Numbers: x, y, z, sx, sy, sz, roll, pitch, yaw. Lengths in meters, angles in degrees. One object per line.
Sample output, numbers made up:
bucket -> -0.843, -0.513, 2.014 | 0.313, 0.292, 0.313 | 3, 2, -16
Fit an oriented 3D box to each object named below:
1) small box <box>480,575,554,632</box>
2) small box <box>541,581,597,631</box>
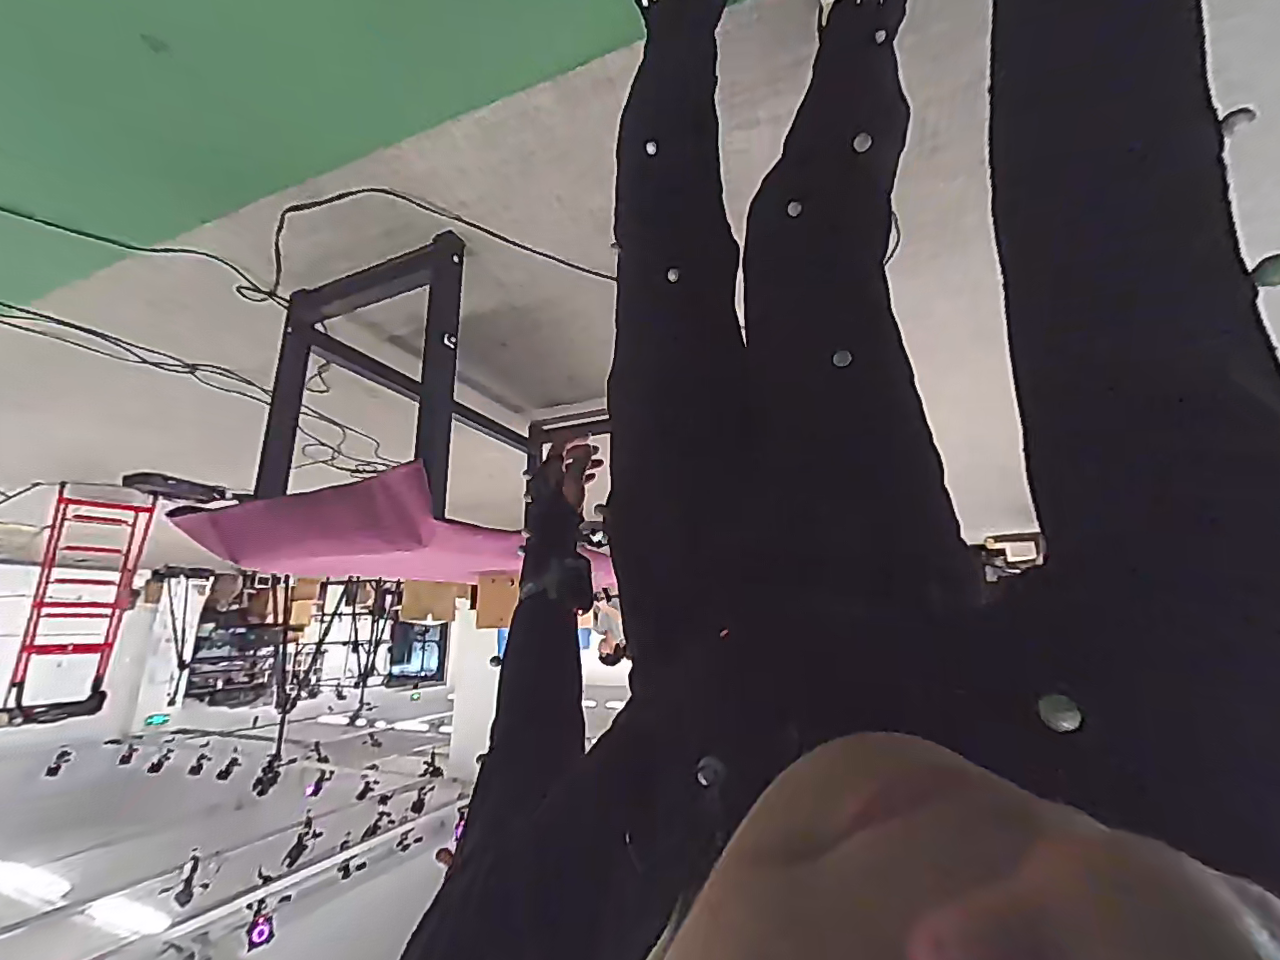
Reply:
small box -> -0.388, 0.393, 1.723 | 0.168, 0.176, 0.179 | -7, 165, 24
small box -> -0.271, 0.463, 1.981 | 0.179, 0.176, 0.168 | -8, 162, 24
